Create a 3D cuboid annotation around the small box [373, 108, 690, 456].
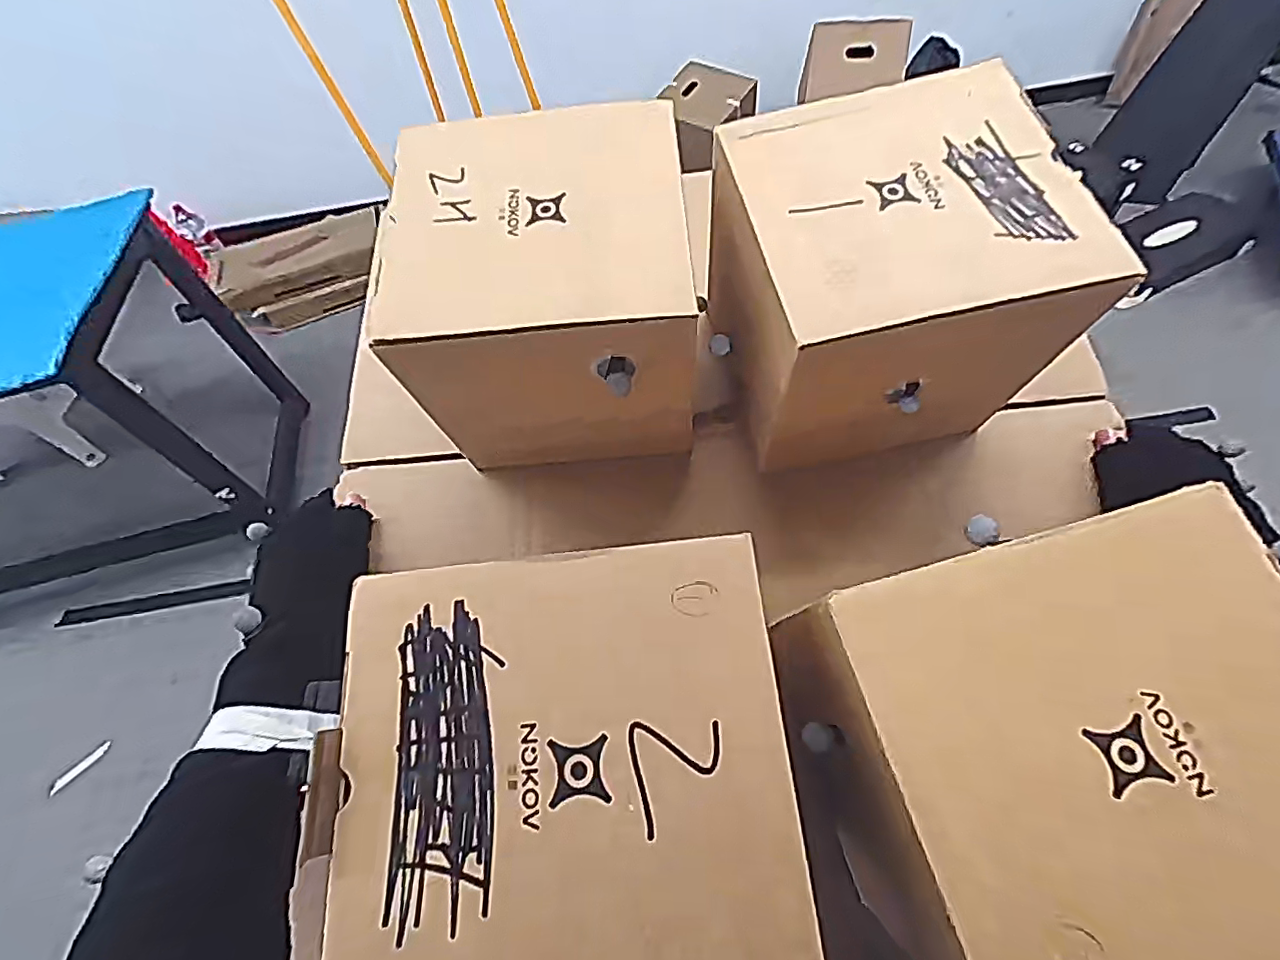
[{"bbox_3d":[-0.058,-0.127,0.394,0.179,0.176,0.168,-4,67,3],"label":"small box"}]
